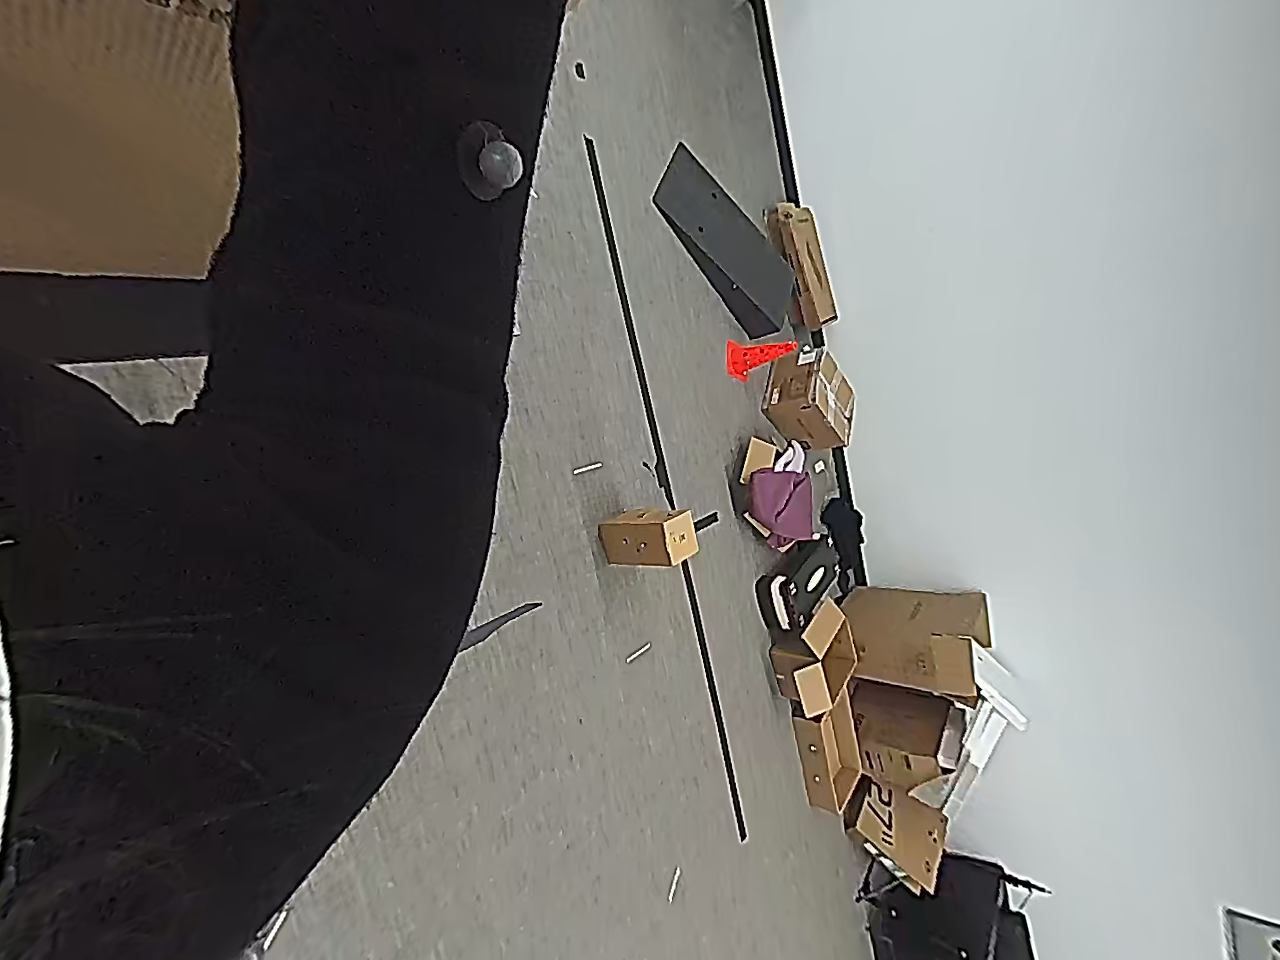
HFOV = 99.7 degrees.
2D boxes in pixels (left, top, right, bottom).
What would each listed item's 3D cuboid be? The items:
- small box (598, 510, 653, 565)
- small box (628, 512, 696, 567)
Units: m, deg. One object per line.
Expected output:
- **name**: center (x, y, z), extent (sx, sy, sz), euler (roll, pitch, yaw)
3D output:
- **small box**: center (-0.042, 0.228, 2.141), extent (0.168, 0.176, 0.179), euler (-25, 105, -47)
- **small box**: center (0.082, 0.220, 2.033), extent (0.179, 0.176, 0.168), euler (-20, 100, -47)
